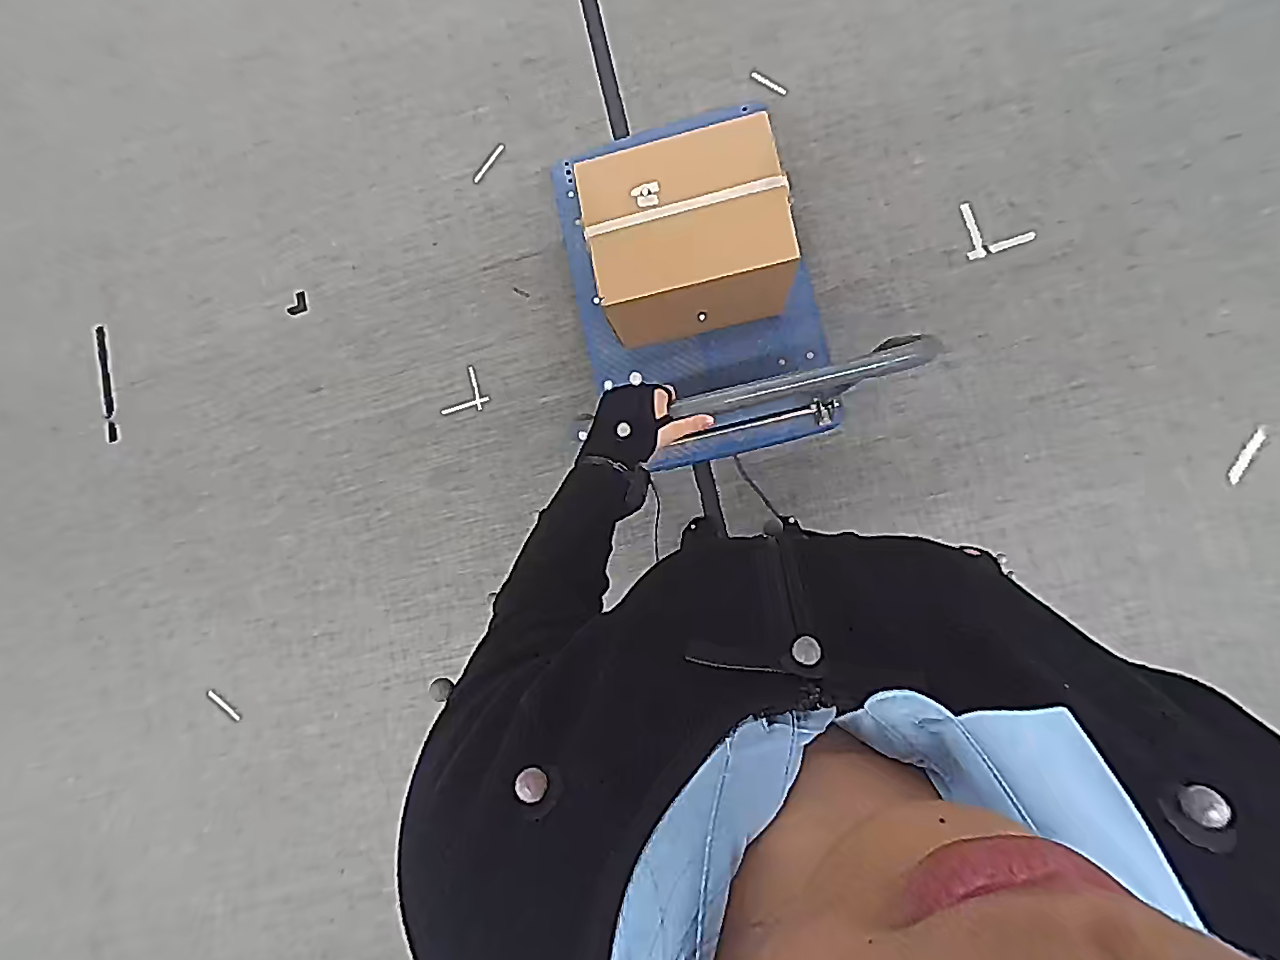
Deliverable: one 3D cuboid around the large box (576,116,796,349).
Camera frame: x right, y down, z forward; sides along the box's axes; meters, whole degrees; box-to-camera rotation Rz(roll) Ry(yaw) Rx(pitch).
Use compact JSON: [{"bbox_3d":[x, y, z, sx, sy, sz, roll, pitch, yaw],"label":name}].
[{"bbox_3d":[0.110,-0.533,1.242,0.408,0.320,0.320,-12,84,8],"label":"large box"}]
